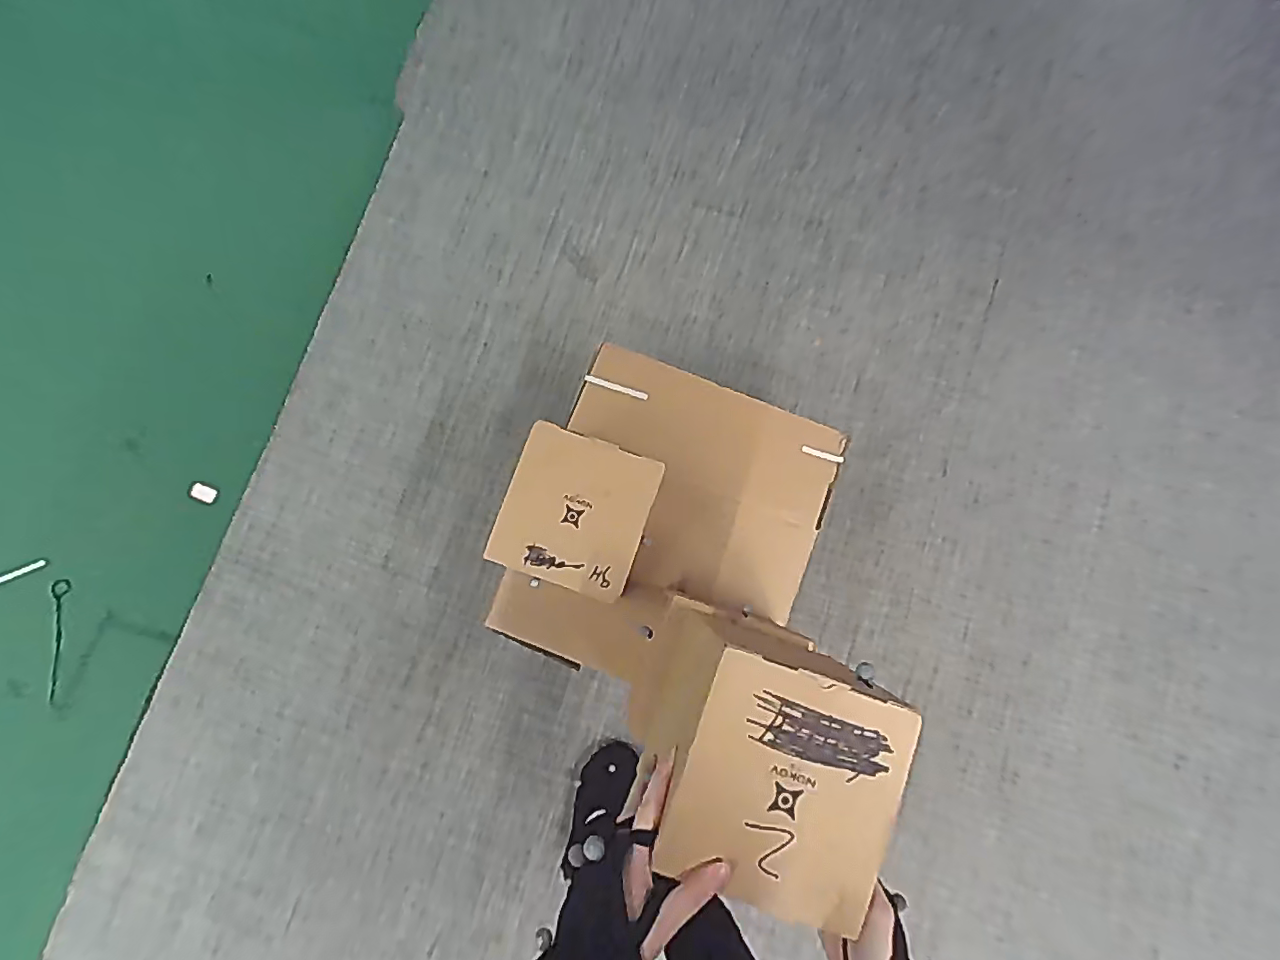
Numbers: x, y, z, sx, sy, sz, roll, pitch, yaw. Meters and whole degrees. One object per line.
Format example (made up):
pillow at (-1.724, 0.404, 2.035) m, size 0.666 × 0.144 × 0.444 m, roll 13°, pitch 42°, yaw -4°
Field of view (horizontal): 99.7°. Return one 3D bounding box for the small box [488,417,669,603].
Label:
small box at (-0.073, 0.044, 0.700) m, size 0.168 × 0.176 × 0.179 m, roll 19°, pitch 81°, yaw 1°

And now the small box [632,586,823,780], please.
small box at (0.097, 0.237, 0.680) m, size 0.179 × 0.176 × 0.168 m, roll 18°, pitch 82°, yaw 0°
